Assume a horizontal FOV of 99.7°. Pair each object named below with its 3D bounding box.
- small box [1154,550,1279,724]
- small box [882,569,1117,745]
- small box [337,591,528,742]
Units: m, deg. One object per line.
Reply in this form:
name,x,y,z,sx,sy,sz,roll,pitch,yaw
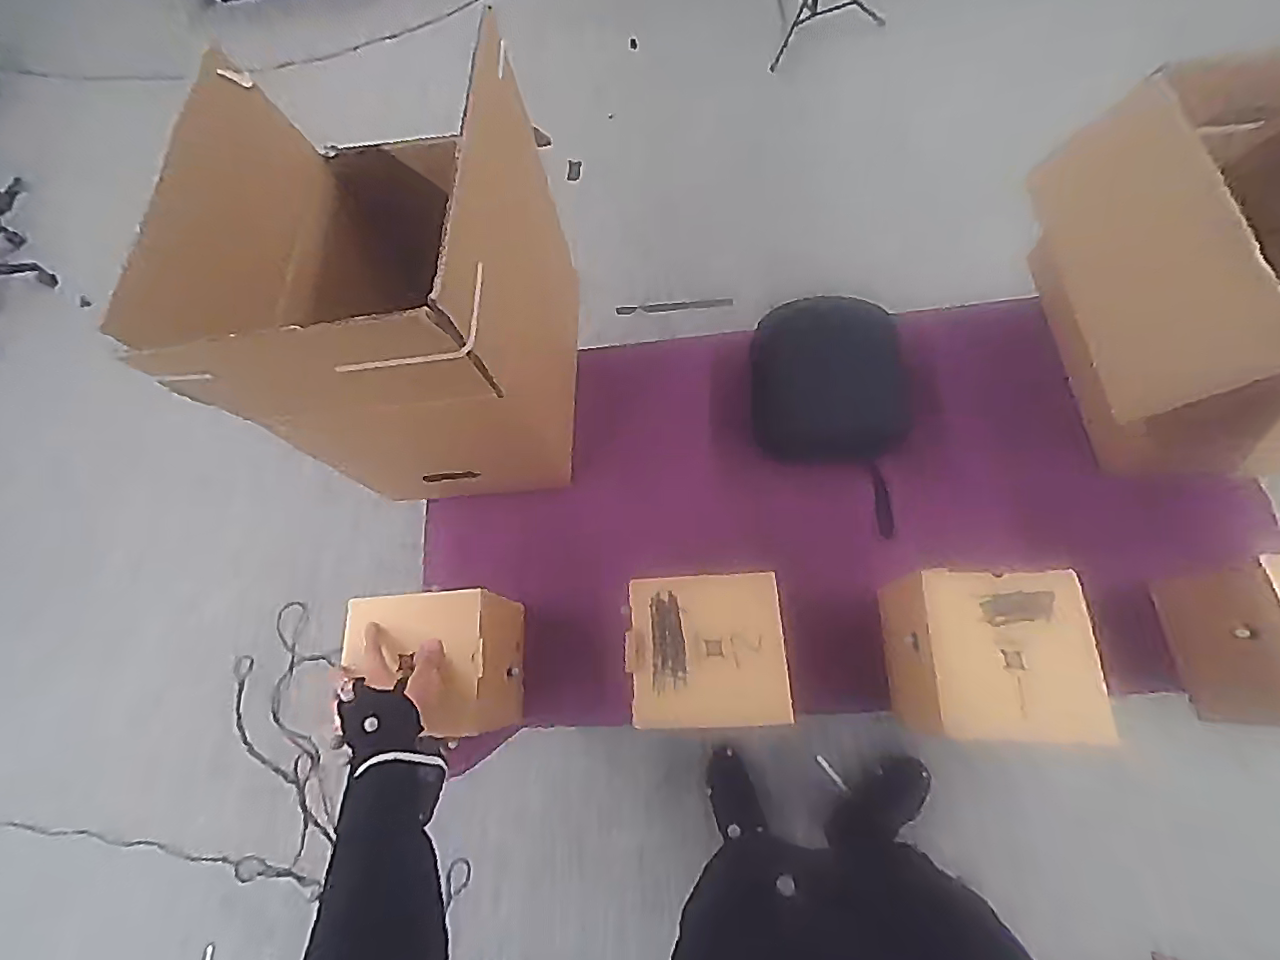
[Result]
small box,0.751,0.180,0.611,0.168,0.176,0.179,-5,69,7
small box,0.404,0.209,0.648,0.168,0.176,0.179,-1,70,7
small box,-0.261,0.249,0.719,0.179,0.176,0.168,-6,69,4
